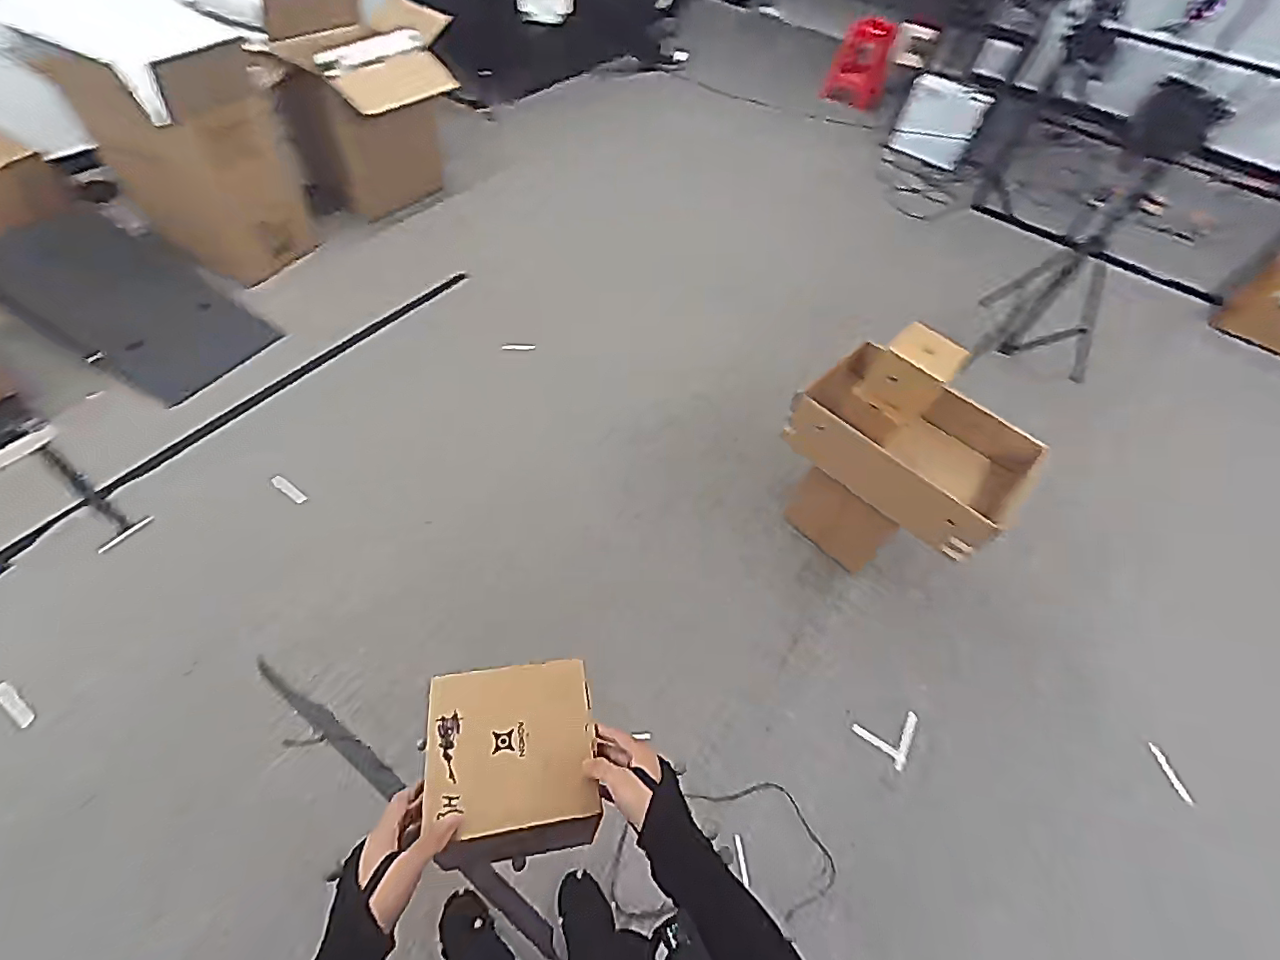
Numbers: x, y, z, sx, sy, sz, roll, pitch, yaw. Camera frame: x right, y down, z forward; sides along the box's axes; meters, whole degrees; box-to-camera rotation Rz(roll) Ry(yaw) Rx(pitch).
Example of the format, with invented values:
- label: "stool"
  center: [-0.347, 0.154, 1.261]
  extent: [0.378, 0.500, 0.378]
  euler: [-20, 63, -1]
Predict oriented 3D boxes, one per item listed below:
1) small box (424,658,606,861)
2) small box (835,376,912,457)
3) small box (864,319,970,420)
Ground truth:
- label: "small box"
  center: [-0.142, 0.328, 0.635]
  extent: [0.179, 0.176, 0.168]
  euler: [-1, 48, -12]
- label: "small box"
  center: [0.698, -0.199, 1.581]
  extent: [0.179, 0.176, 0.168]
  euler: [-35, 67, -28]
- label: "small box"
  center: [0.732, -0.292, 1.451]
  extent: [0.168, 0.176, 0.179]
  euler: [40, 58, 18]
